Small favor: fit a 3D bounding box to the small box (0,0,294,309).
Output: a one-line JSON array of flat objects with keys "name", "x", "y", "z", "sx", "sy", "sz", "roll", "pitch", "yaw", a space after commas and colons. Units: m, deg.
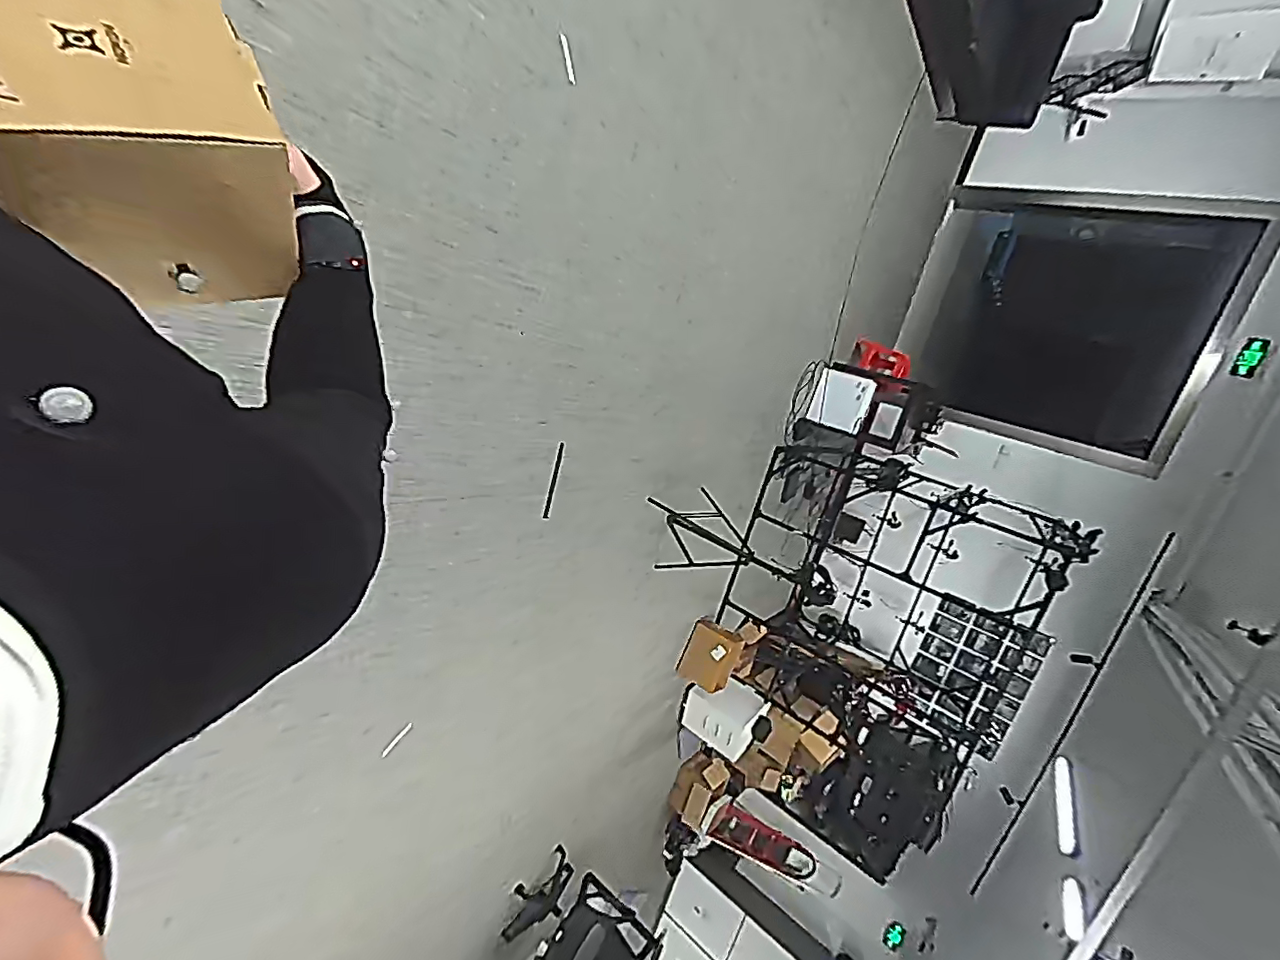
[{"name": "small box", "x": -0.408, "y": -0.264, "z": 0.446, "sx": 0.179, "sy": 0.168, "sz": 0.176, "roll": -21, "pitch": 167, "yaw": -35}]
